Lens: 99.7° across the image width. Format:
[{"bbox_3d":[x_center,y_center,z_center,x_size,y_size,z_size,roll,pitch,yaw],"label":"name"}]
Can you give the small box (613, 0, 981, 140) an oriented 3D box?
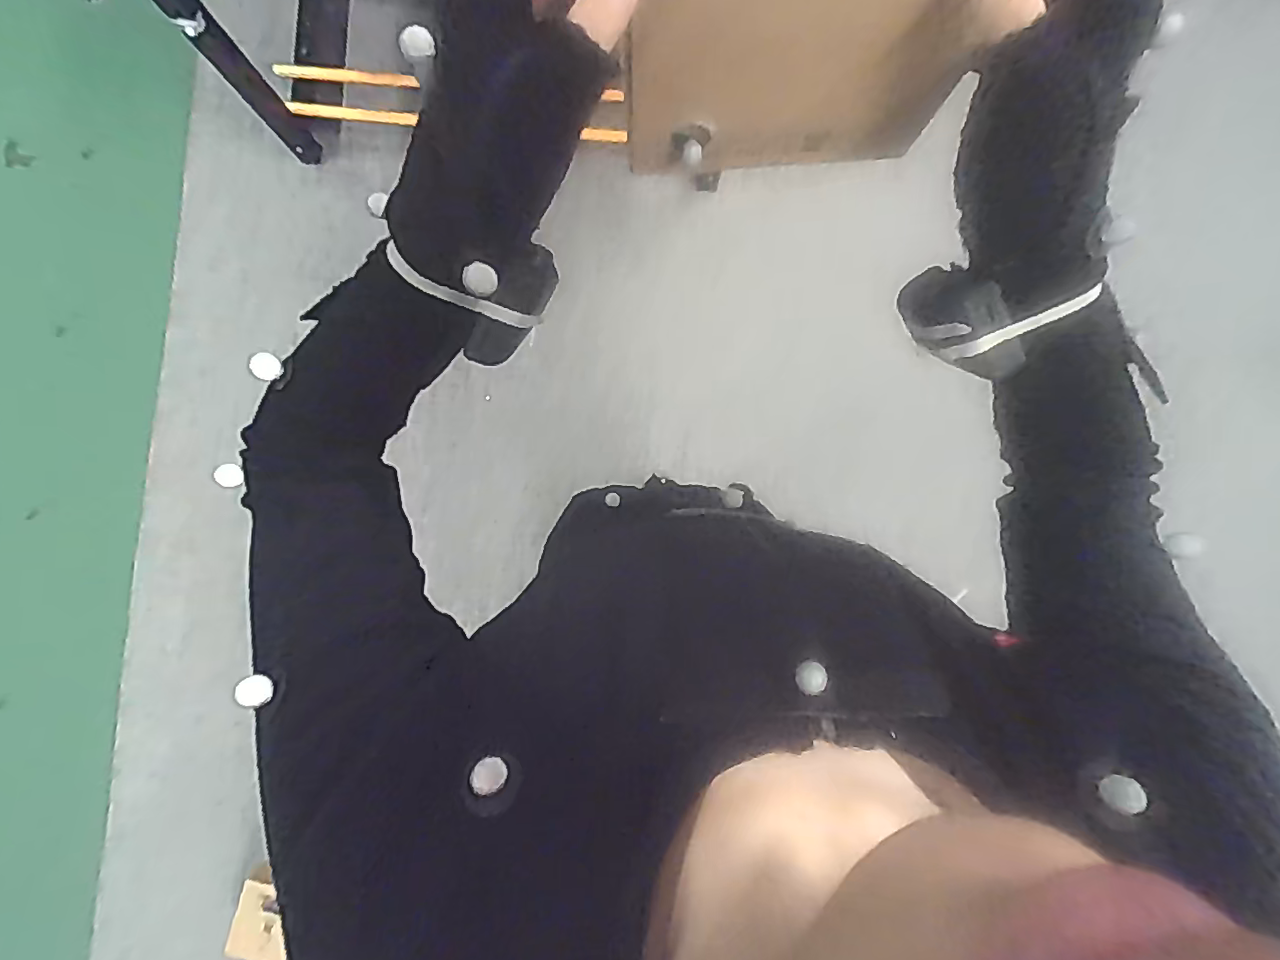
[{"bbox_3d":[0.068,-0.285,0.243,0.168,0.176,0.179,-5,84,-1],"label":"small box"}]
